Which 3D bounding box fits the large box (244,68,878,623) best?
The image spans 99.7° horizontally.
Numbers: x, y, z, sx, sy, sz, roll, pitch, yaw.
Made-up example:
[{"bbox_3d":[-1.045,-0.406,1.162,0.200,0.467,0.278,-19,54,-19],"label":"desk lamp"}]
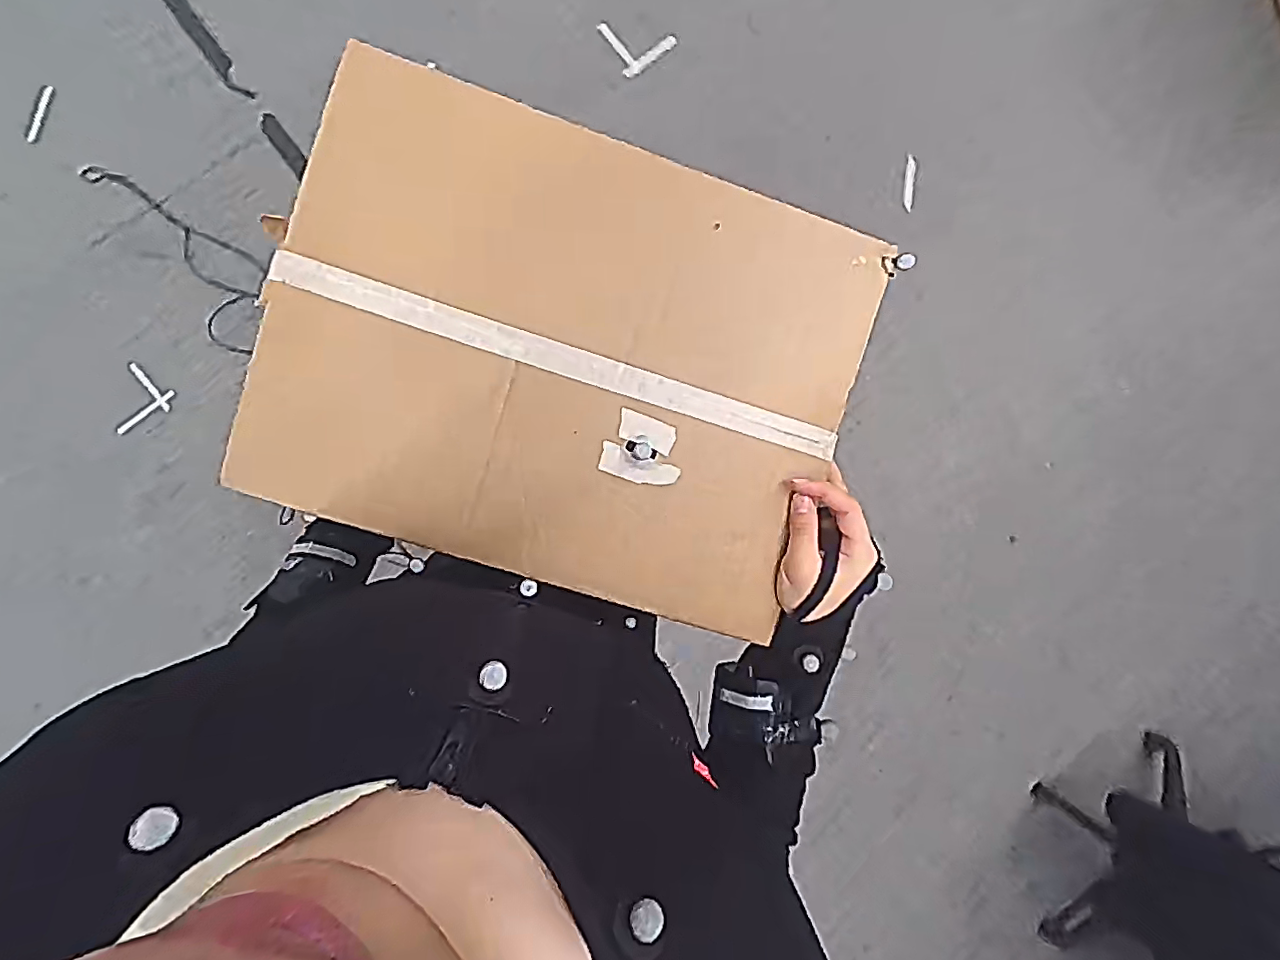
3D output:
[{"bbox_3d":[-0.064,-0.093,0.540,0.408,0.320,0.320,16,92,-7],"label":"large box"}]
